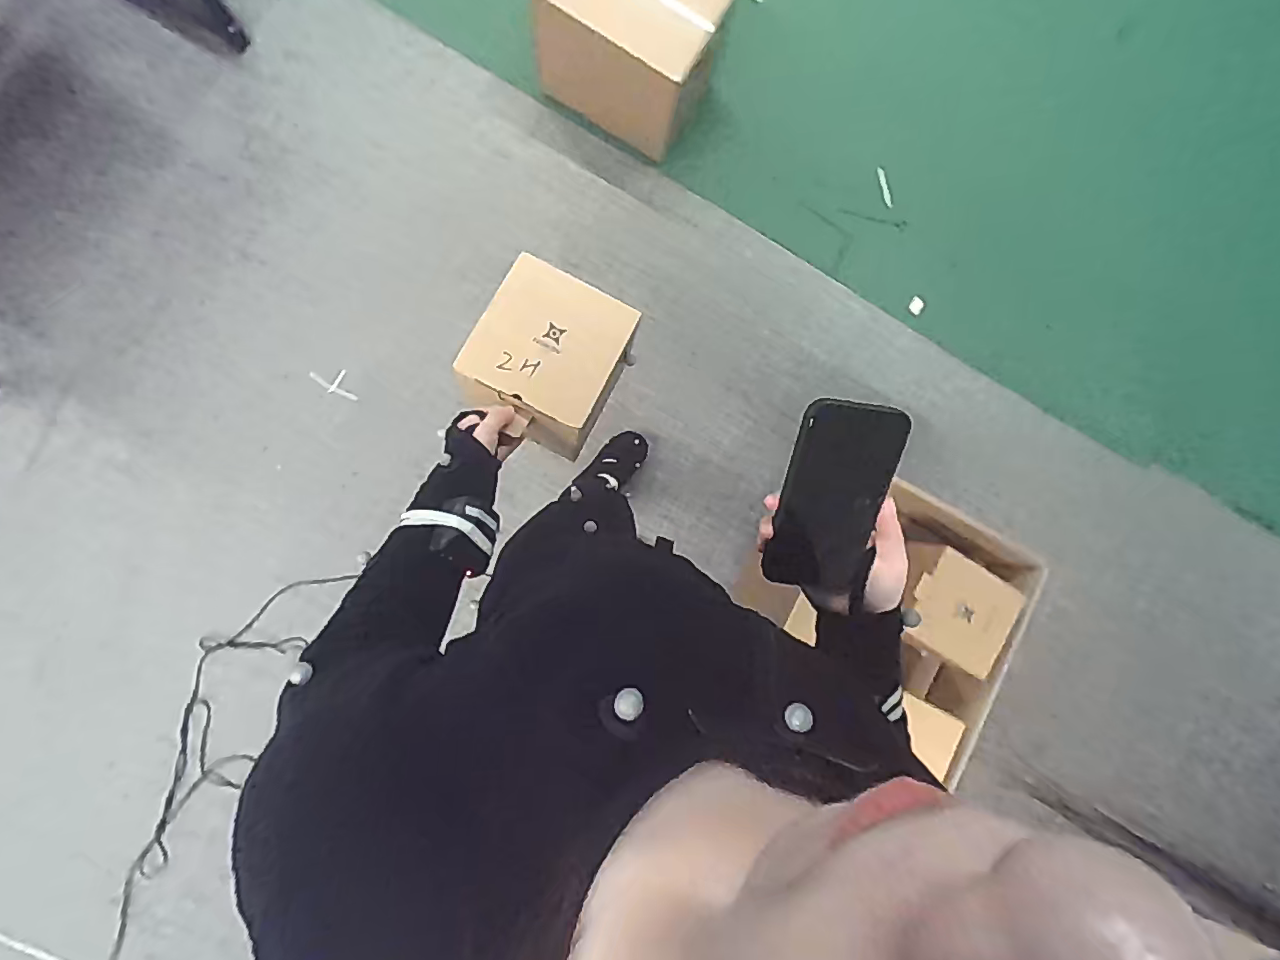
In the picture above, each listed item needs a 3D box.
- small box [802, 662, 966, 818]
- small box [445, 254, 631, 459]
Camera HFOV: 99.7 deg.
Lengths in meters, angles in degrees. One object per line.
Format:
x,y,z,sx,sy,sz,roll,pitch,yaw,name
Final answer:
0.427,0.452,0.972,0.179,0.176,0.168,28,83,-2,small box
-0.129,-0.151,0.717,0.168,0.176,0.179,25,77,-2,small box
